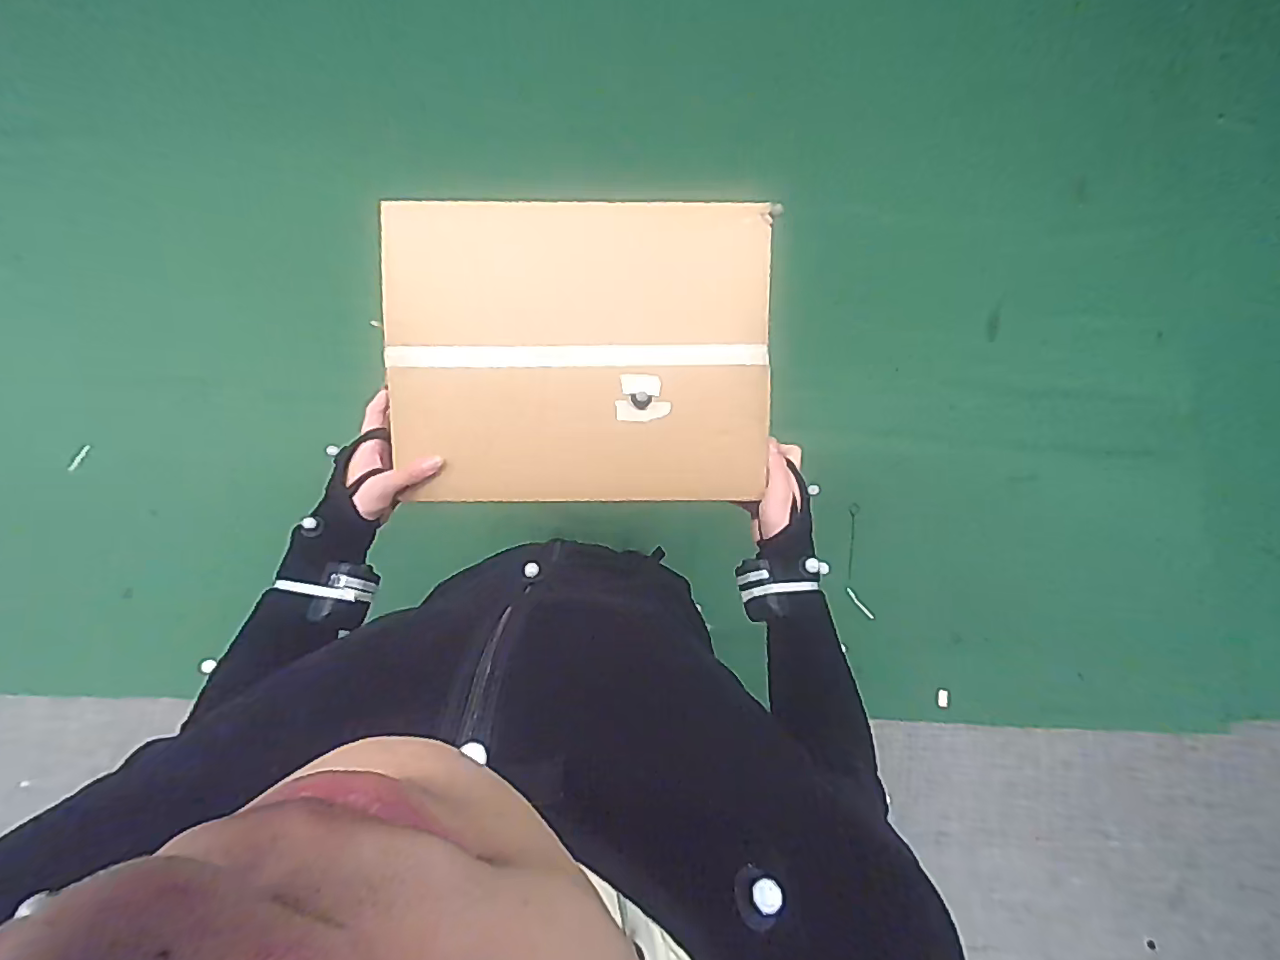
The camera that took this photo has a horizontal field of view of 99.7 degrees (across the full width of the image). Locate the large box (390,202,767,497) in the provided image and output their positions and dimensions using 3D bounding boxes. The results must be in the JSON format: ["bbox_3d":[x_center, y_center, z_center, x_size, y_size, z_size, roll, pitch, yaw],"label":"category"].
[{"bbox_3d":[-0.068,-0.152,0.730,0.408,0.320,0.320,0,96,-2],"label":"large box"}]
